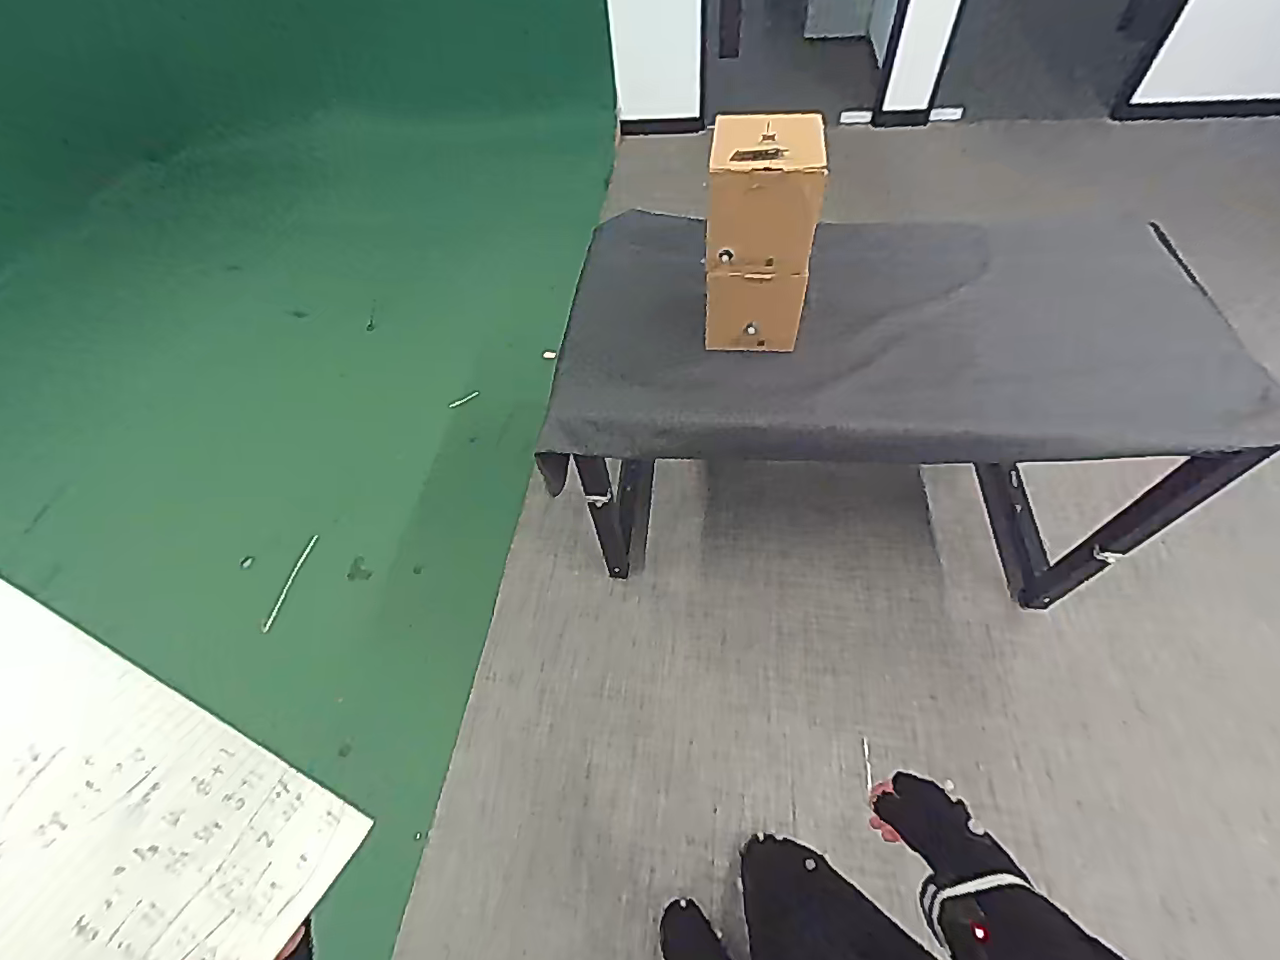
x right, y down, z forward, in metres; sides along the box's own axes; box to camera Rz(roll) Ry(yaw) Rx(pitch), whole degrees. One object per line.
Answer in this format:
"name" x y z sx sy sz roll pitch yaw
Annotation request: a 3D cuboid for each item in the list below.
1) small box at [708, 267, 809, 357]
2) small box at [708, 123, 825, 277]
"small box" 0.214 -0.353 1.011 0.168 0.176 0.179 3 55 8
"small box" 0.200 -0.451 0.880 0.168 0.176 0.179 5 54 8
